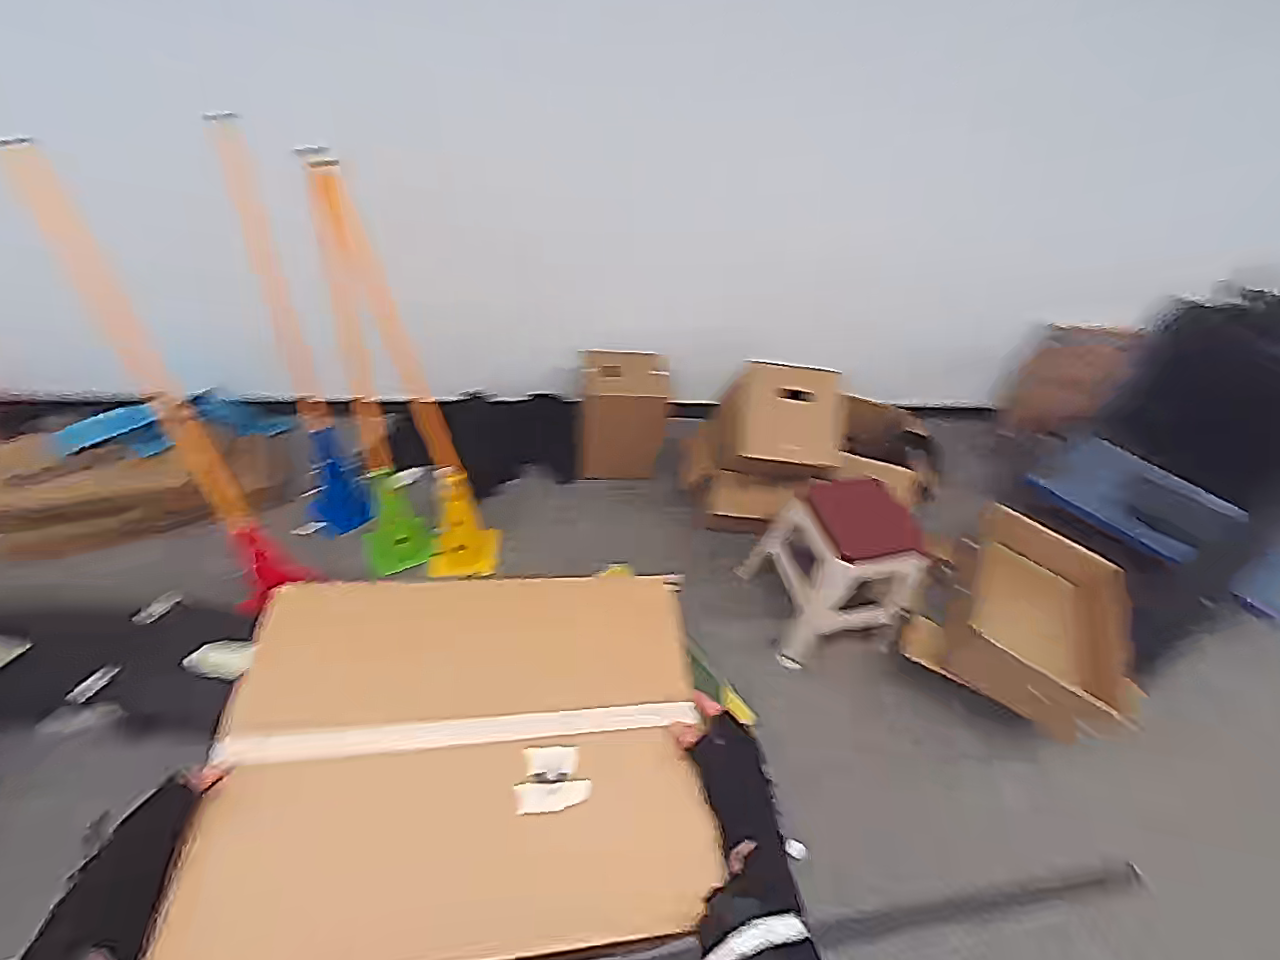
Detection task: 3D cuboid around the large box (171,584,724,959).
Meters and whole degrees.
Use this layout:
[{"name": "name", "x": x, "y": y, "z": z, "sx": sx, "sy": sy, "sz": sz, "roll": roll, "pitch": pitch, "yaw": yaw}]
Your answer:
[{"name": "large box", "x": -0.167, "y": 0.334, "z": 0.600, "sx": 0.408, "sy": 0.320, "sz": 0.320, "roll": 1, "pitch": 48, "yaw": -11}]
